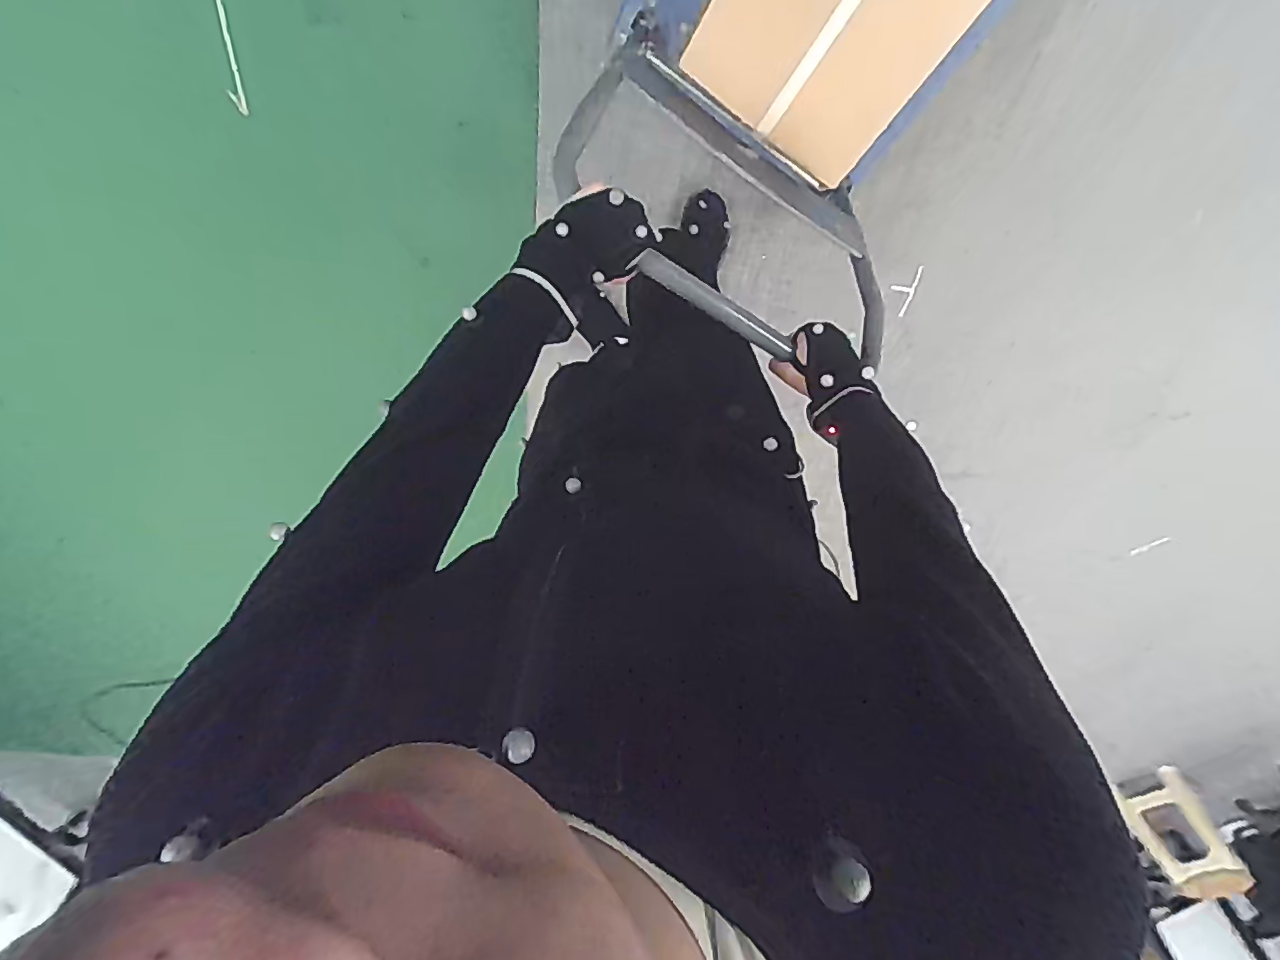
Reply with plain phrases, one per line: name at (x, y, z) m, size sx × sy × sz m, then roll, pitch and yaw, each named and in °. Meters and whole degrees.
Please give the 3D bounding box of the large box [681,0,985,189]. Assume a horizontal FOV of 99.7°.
large box at (0.305, -0.764, 0.841) m, size 0.320 × 0.320 × 0.408 m, roll 27°, pitch 132°, yaw -18°
